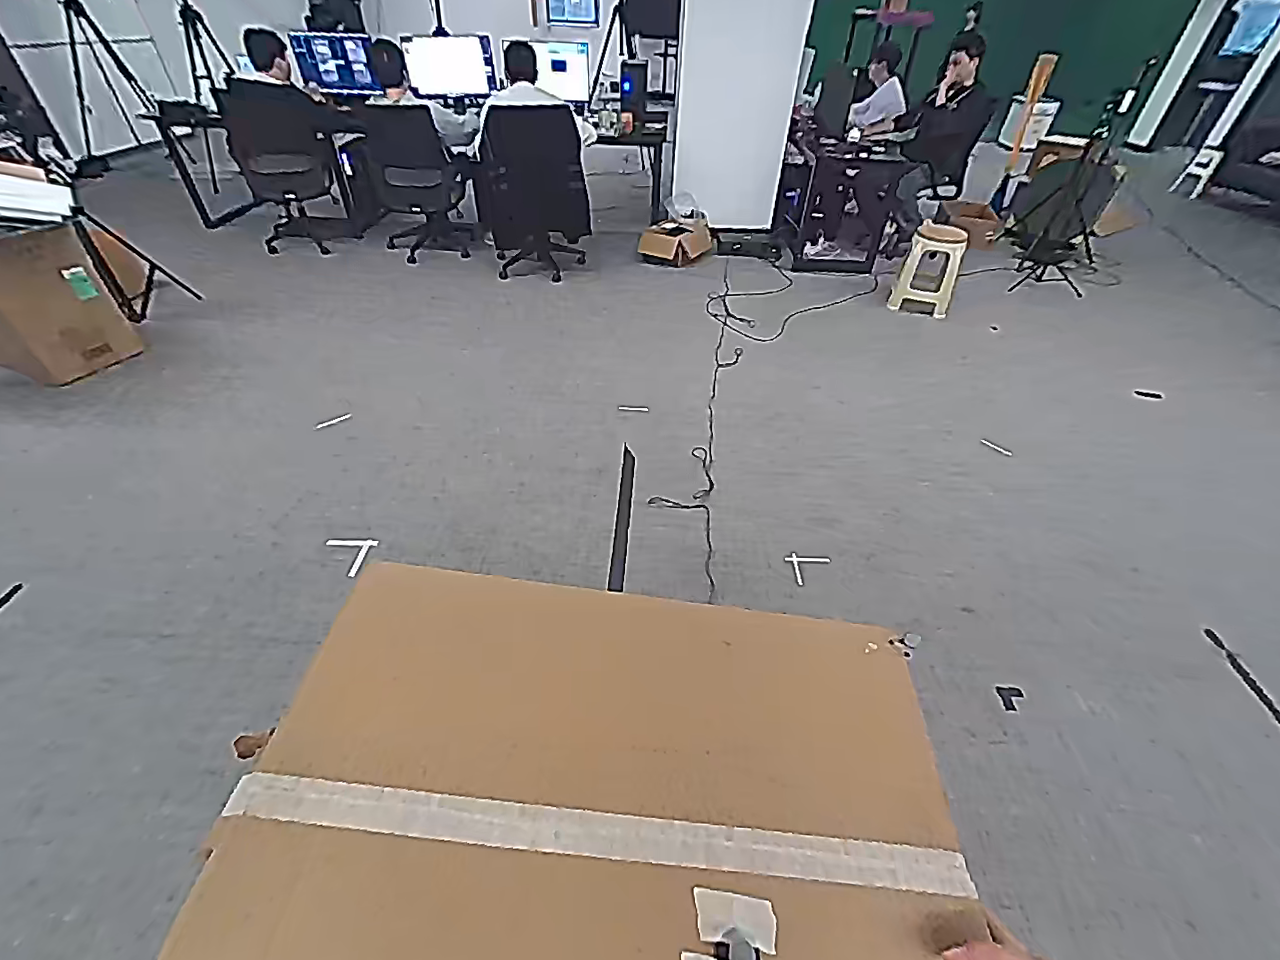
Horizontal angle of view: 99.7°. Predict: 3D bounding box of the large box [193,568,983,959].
[{"bbox_3d":[-0.029,0.303,0.419,0.408,0.320,0.320,9,46,-2],"label":"large box"}]
